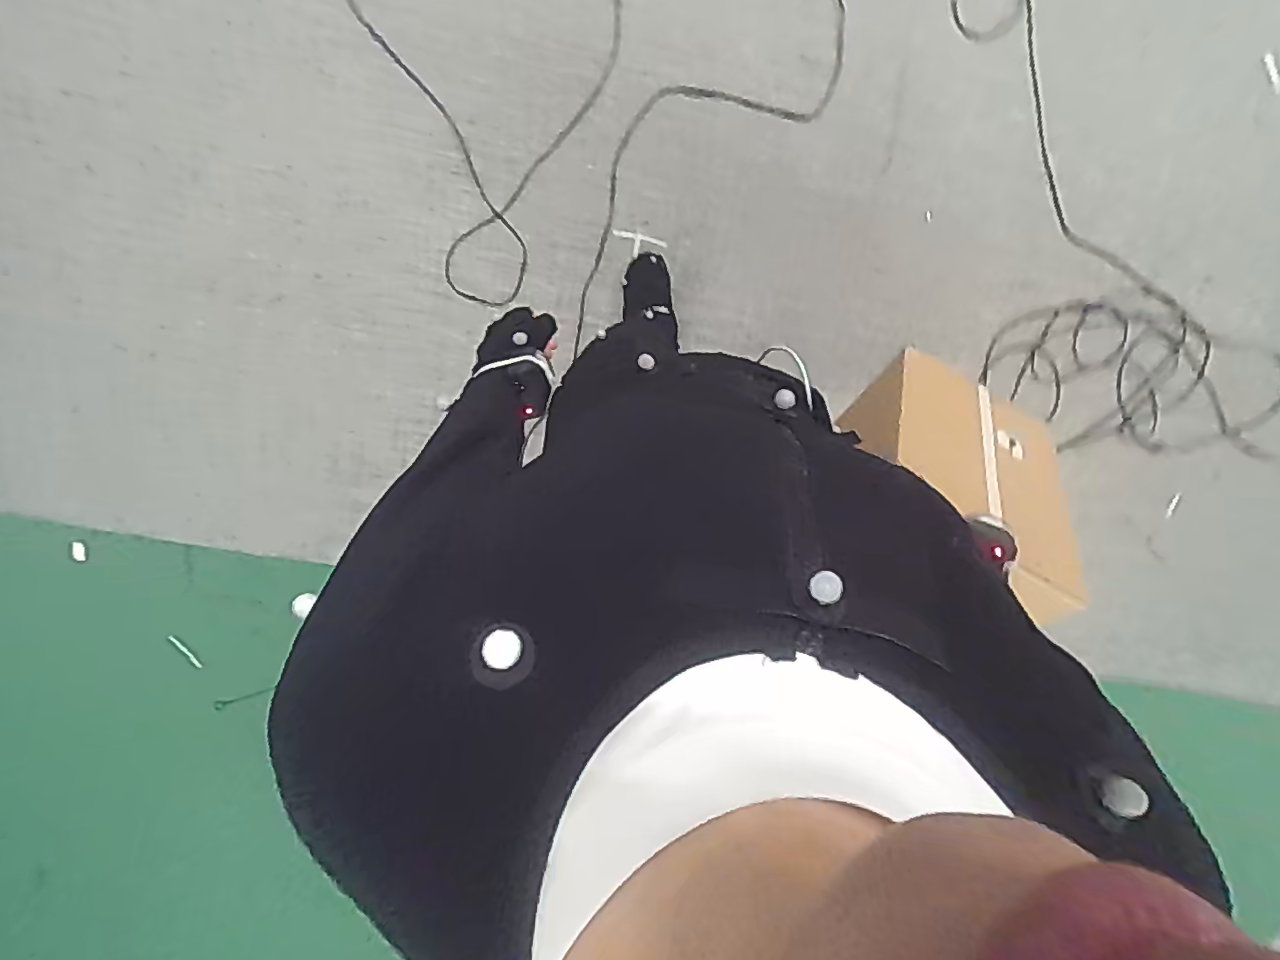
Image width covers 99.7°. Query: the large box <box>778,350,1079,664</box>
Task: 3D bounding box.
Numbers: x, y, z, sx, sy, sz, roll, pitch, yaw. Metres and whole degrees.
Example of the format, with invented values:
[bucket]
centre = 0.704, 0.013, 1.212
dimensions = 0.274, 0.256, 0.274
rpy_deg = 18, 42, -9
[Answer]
[large box]
centre = 0.488, 0.048, 0.980
dimensions = 0.320, 0.408, 0.320
rpy_deg = 31, 137, -2
